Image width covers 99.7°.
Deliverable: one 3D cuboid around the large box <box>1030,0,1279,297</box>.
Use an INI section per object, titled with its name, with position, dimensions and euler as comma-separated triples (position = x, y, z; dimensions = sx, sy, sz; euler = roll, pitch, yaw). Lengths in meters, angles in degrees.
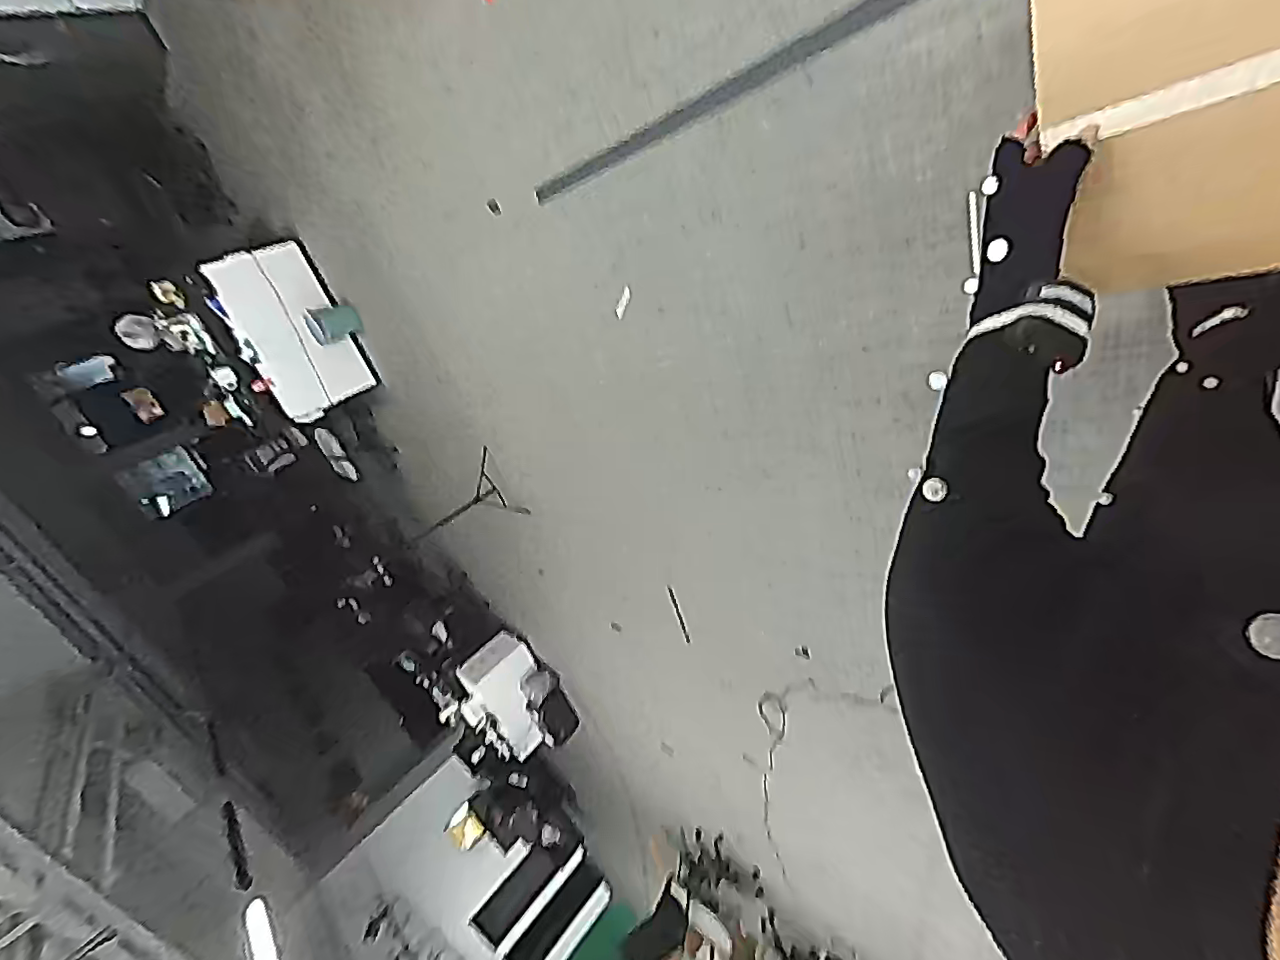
[large box]
position = 0.599, -0.384, 0.436
dimensions = 0.408, 0.320, 0.320
euler = 4, 125, 47
